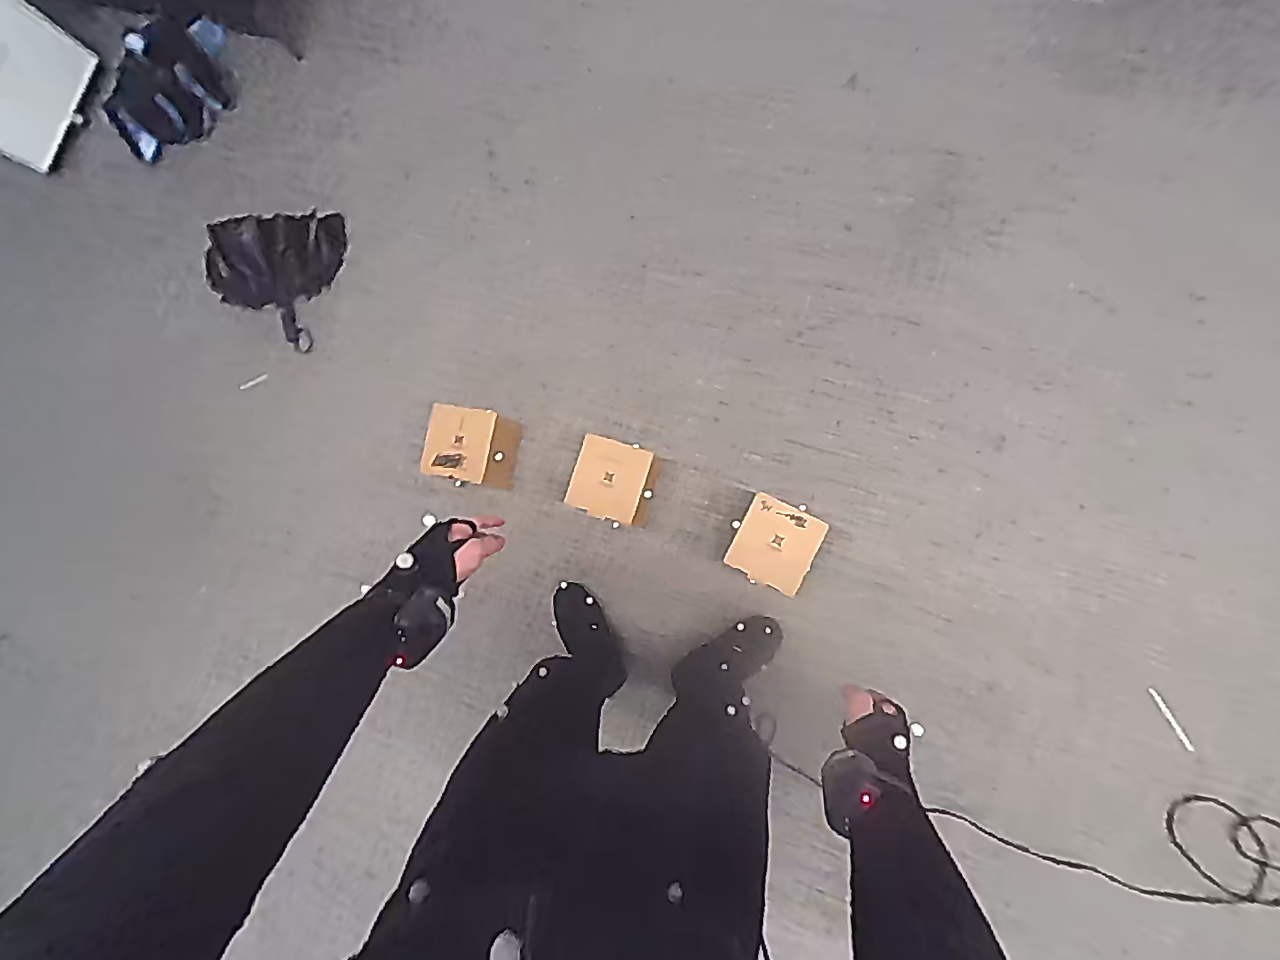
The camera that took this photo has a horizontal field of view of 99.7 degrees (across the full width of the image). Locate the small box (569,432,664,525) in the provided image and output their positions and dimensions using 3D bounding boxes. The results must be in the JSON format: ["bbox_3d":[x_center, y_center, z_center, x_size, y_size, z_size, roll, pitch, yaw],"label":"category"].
[{"bbox_3d":[-0.048,0.002,1.294,0.168,0.176,0.179,17,87,10],"label":"small box"}]

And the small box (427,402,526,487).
[{"bbox_3d":[-0.403,-0.082,1.360,0.168,0.176,0.179,10,86,10],"label":"small box"}]

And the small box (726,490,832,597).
[{"bbox_3d":[0.310,0.139,1.218,0.168,0.176,0.179,27,91,12],"label":"small box"}]
